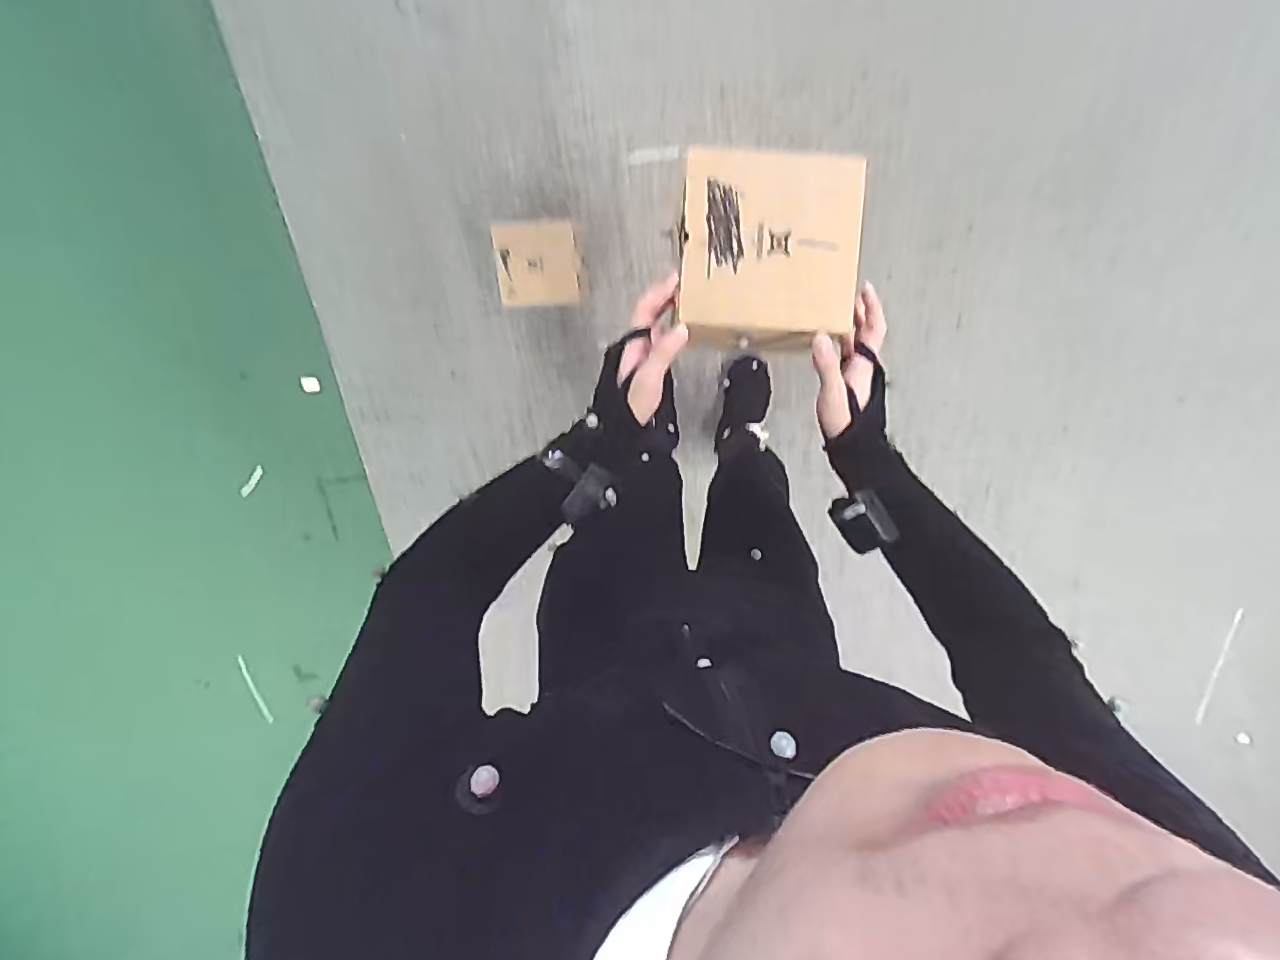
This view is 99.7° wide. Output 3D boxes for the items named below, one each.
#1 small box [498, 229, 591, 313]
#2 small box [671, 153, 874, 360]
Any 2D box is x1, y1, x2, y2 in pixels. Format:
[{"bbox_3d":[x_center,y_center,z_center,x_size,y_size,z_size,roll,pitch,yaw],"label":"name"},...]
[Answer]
[{"bbox_3d":[-0.205,-0.474,1.222,0.179,0.176,0.168,-3,112,2],"label":"small box"},{"bbox_3d":[0.128,-0.226,0.589,0.179,0.176,0.168,2,95,-1],"label":"small box"}]
